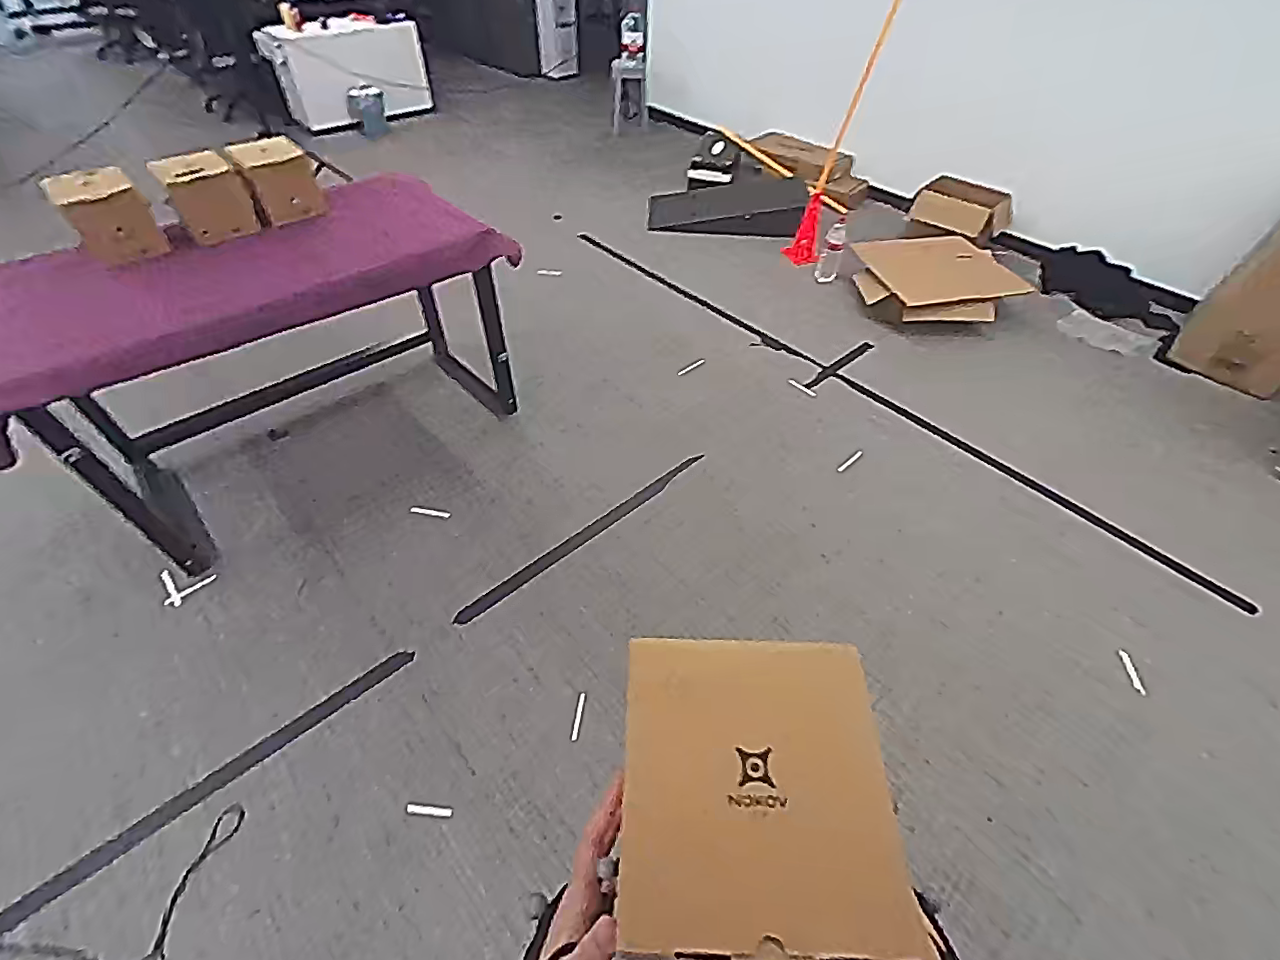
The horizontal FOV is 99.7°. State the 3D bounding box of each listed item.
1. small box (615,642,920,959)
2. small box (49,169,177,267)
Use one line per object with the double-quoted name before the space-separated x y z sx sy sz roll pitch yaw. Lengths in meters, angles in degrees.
"small box" 0.067 0.236 0.400 0.168 0.176 0.179 0 52 0
"small box" -1.384 -0.686 1.431 0.168 0.176 0.179 -35 61 -29
